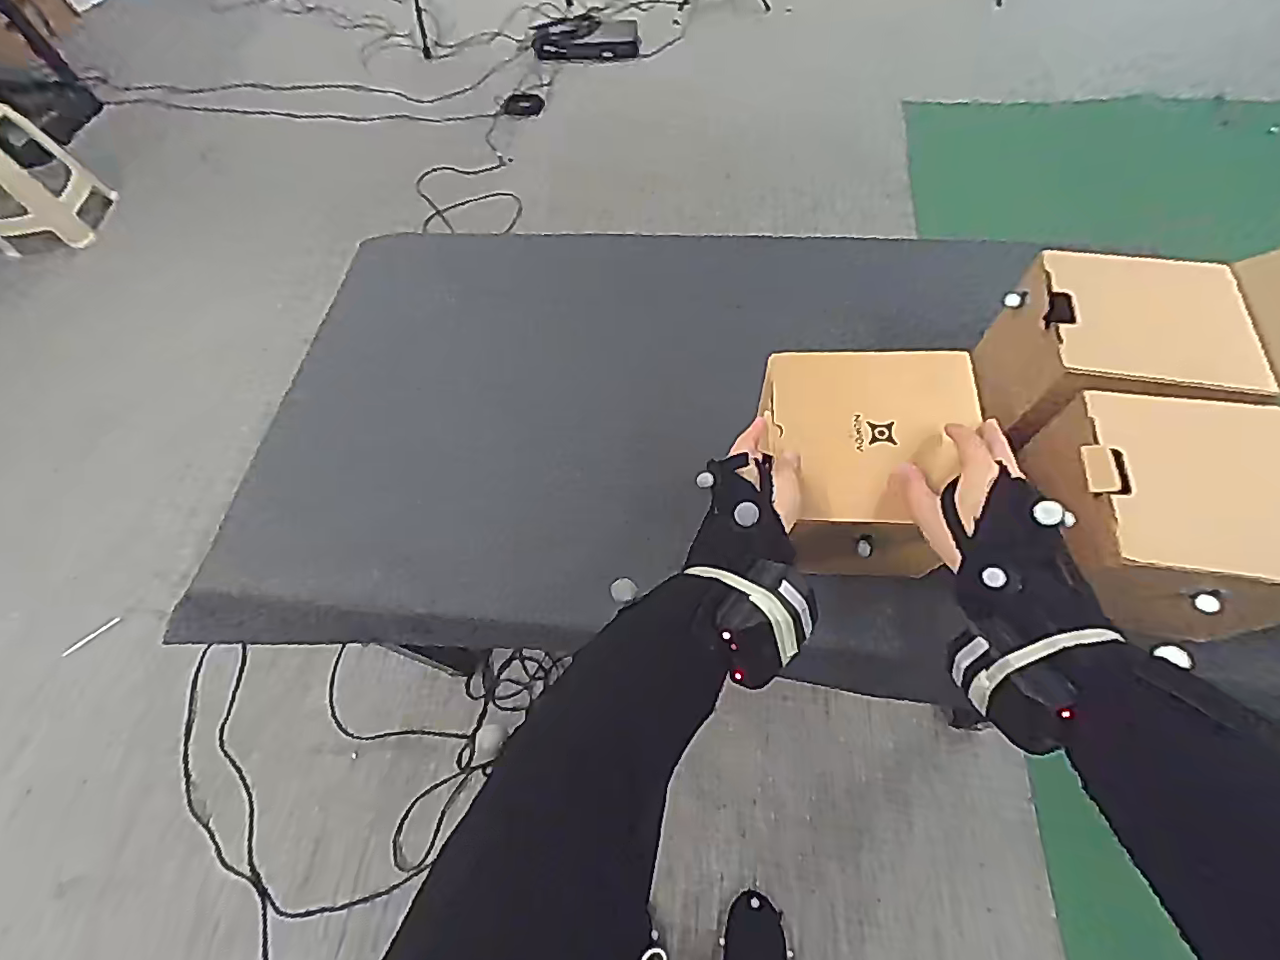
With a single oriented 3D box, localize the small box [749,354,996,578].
[{"bbox_3d":[0.202,-0.005,0.526,0.179,0.176,0.168,1,67,8],"label":"small box"}]
